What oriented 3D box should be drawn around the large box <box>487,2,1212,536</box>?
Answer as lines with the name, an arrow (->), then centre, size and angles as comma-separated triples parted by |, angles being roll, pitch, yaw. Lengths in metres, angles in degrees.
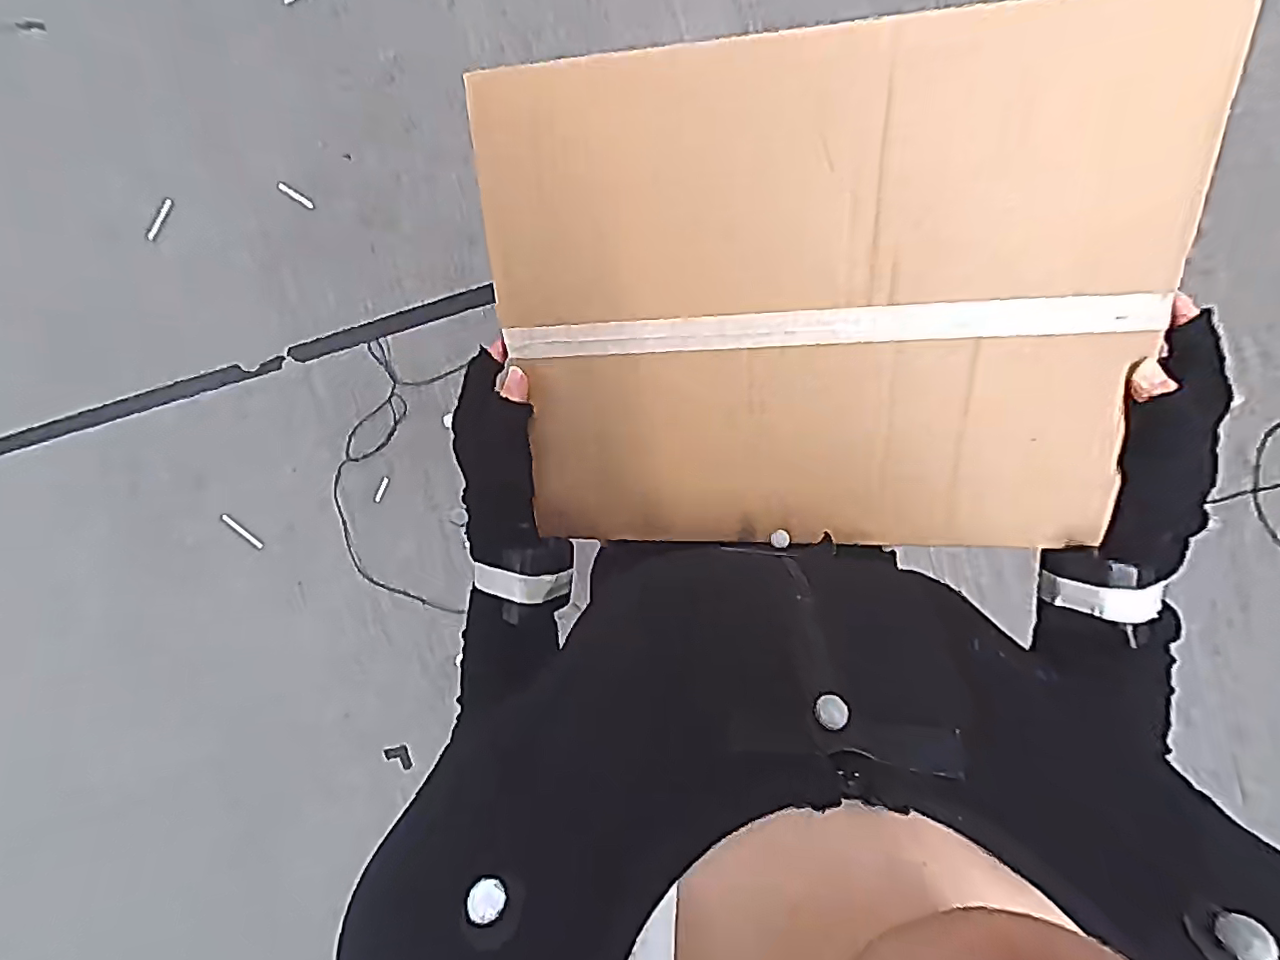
large box -> 0.129, -0.155, 0.498 | 0.408, 0.320, 0.320 | 0, 114, 9
